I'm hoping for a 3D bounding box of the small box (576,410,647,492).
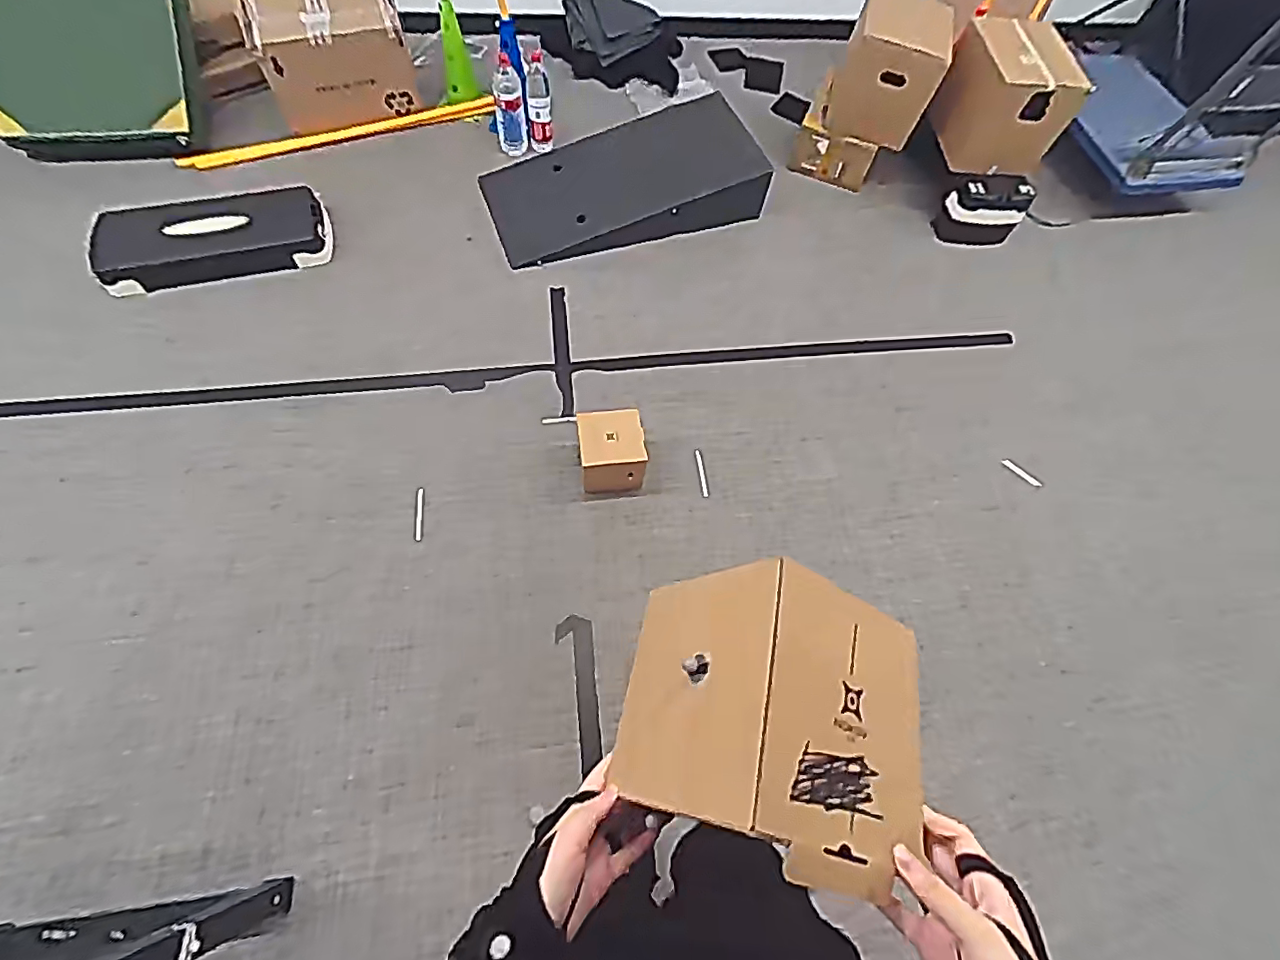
[{"bbox_3d":[-0.084,-0.078,1.505,0.179,0.176,0.168,-6,65,-8],"label":"small box"}]

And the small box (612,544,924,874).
[{"bbox_3d":[0.099,0.178,0.433,0.168,0.176,0.179,31,56,-24],"label":"small box"}]
